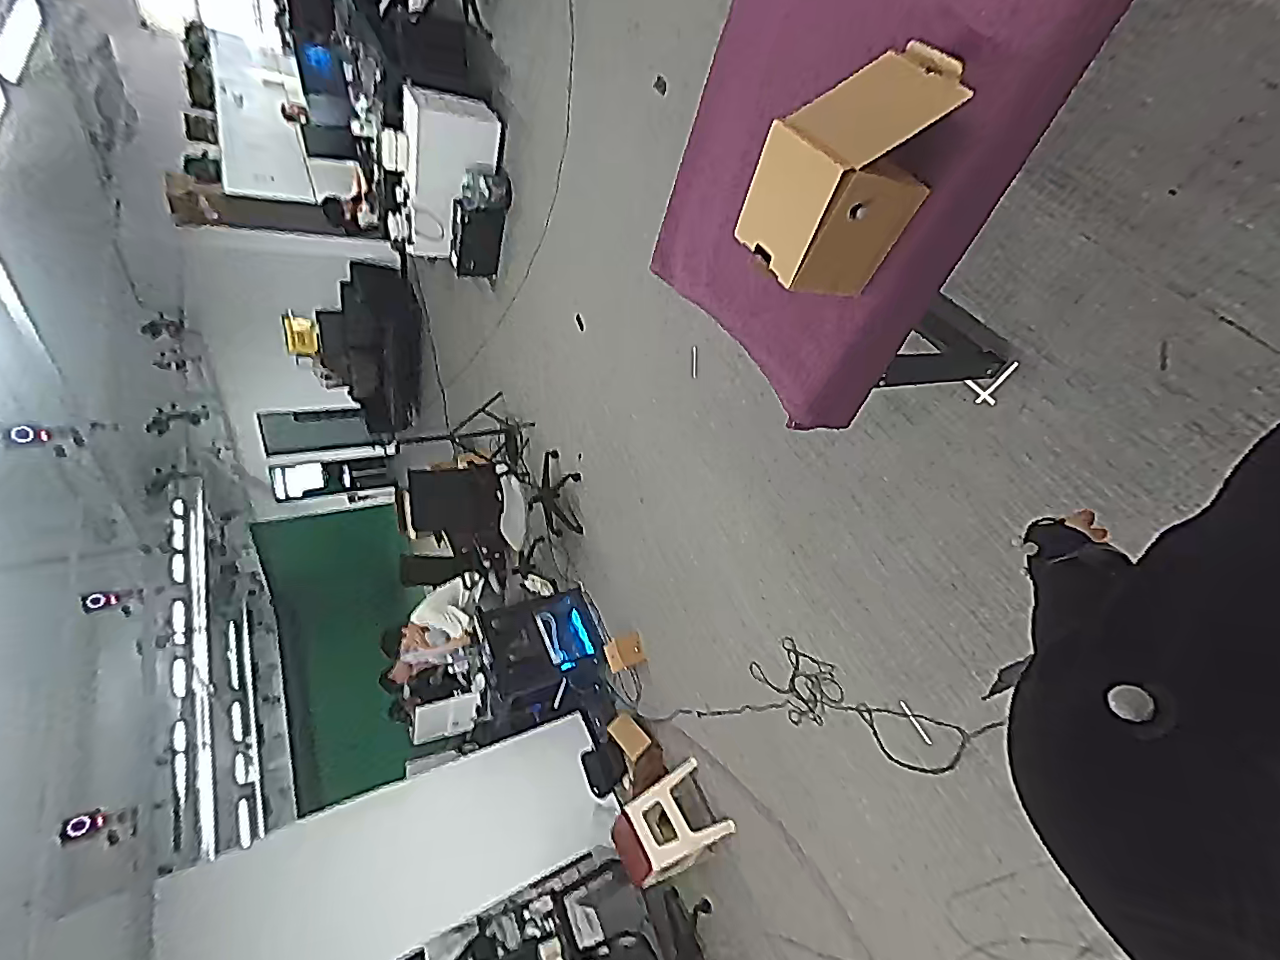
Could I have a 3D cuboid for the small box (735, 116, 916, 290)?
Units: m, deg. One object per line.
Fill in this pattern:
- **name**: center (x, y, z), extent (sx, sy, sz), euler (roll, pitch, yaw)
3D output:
- **small box**: center (0.284, -0.414, 0.829), extent (0.168, 0.176, 0.179), euler (62, 144, 31)
